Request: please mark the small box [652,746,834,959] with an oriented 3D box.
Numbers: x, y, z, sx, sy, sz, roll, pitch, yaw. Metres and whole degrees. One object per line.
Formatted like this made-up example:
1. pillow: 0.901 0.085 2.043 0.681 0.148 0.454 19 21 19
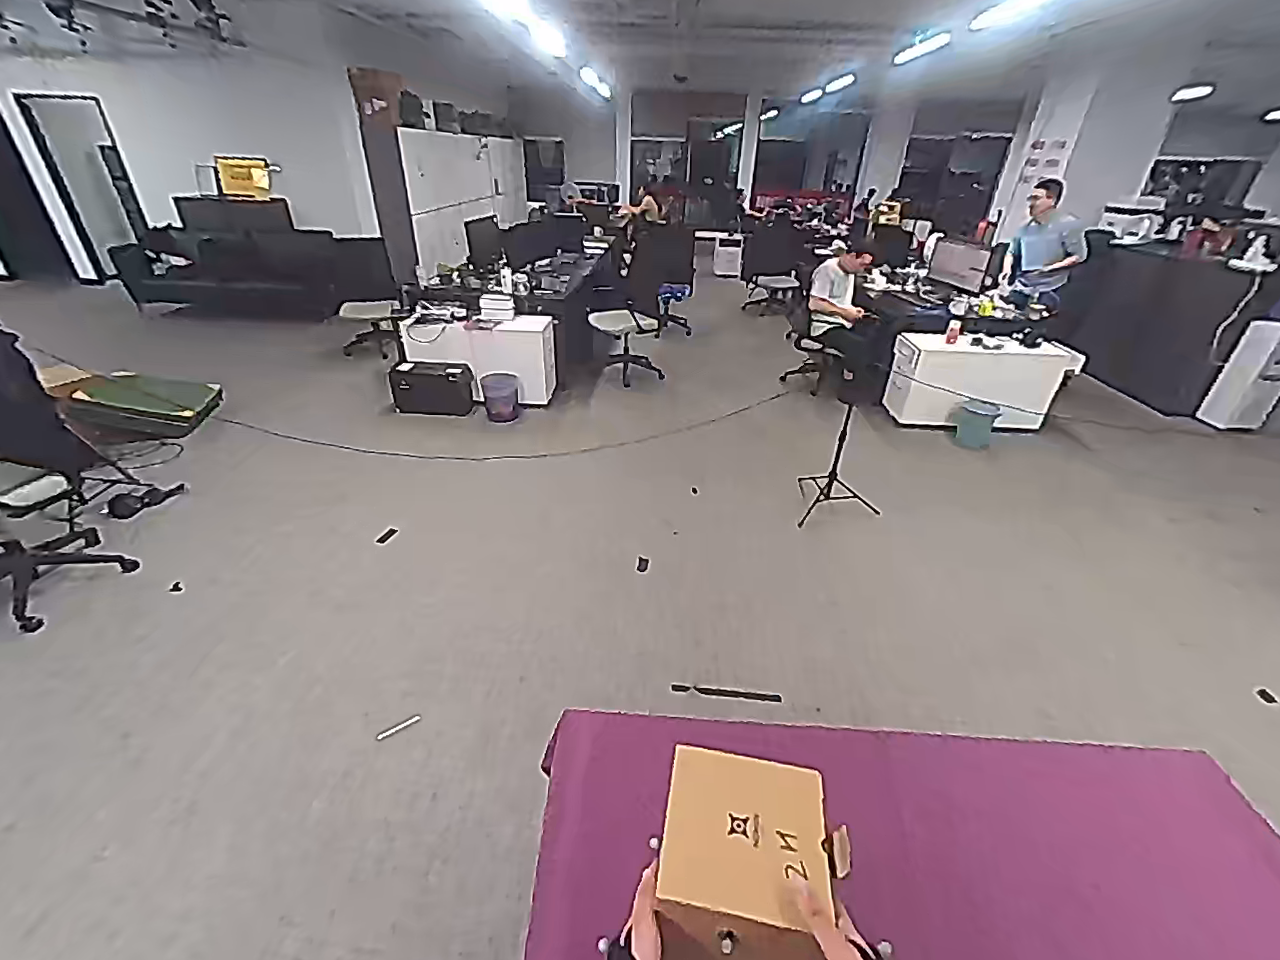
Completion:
1. small box: 0.112 0.448 0.628 0.179 0.176 0.168 8 32 8
